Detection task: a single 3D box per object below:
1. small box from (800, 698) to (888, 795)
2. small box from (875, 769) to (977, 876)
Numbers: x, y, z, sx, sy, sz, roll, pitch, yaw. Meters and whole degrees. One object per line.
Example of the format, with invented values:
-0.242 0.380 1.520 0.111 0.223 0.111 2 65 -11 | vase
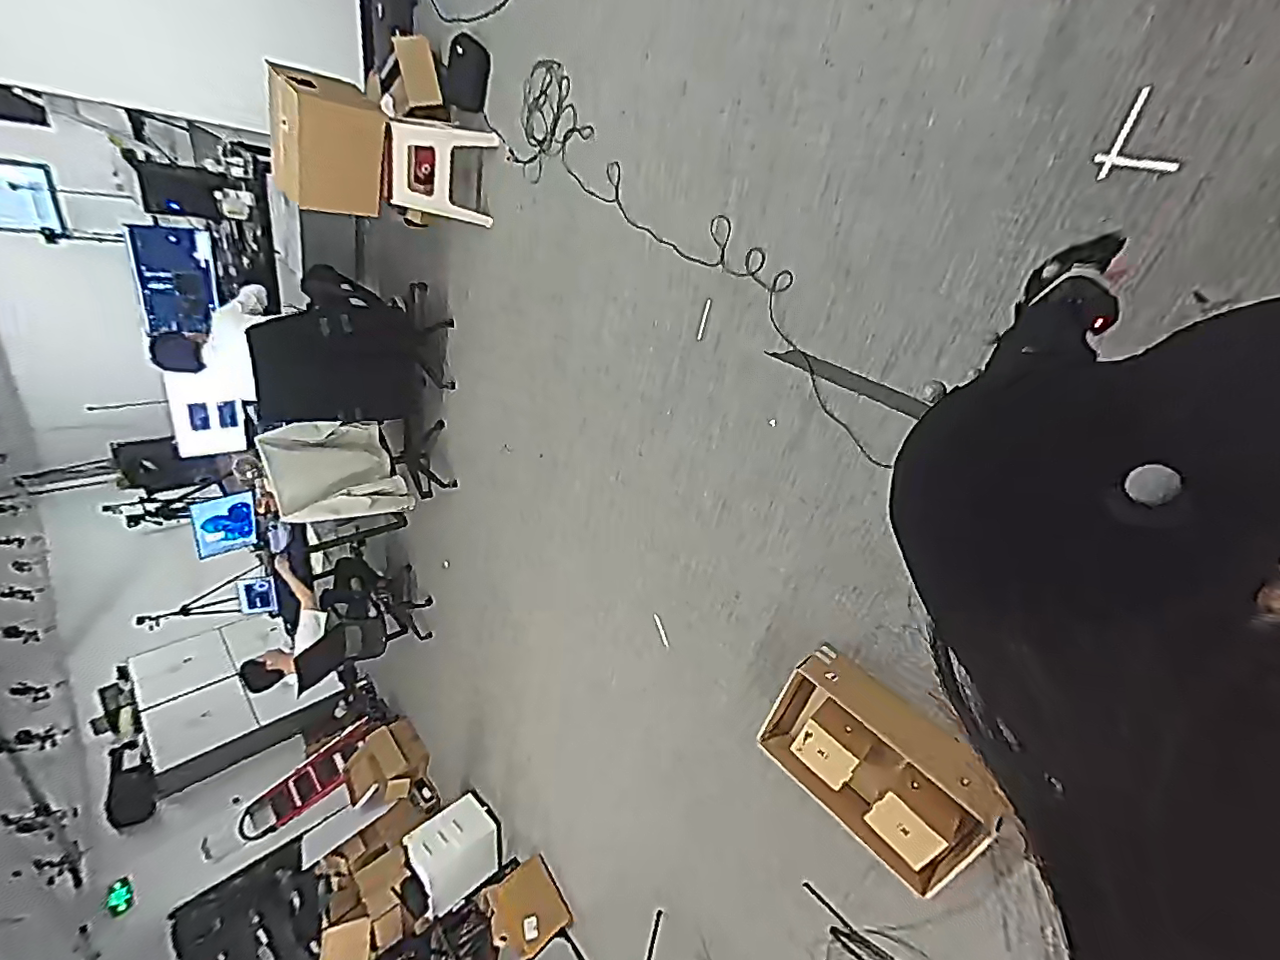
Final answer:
0.639 0.822 1.687 0.179 0.176 0.168 35 125 30 | small box
0.818 0.965 1.545 0.179 0.176 0.168 39 128 32 | small box
